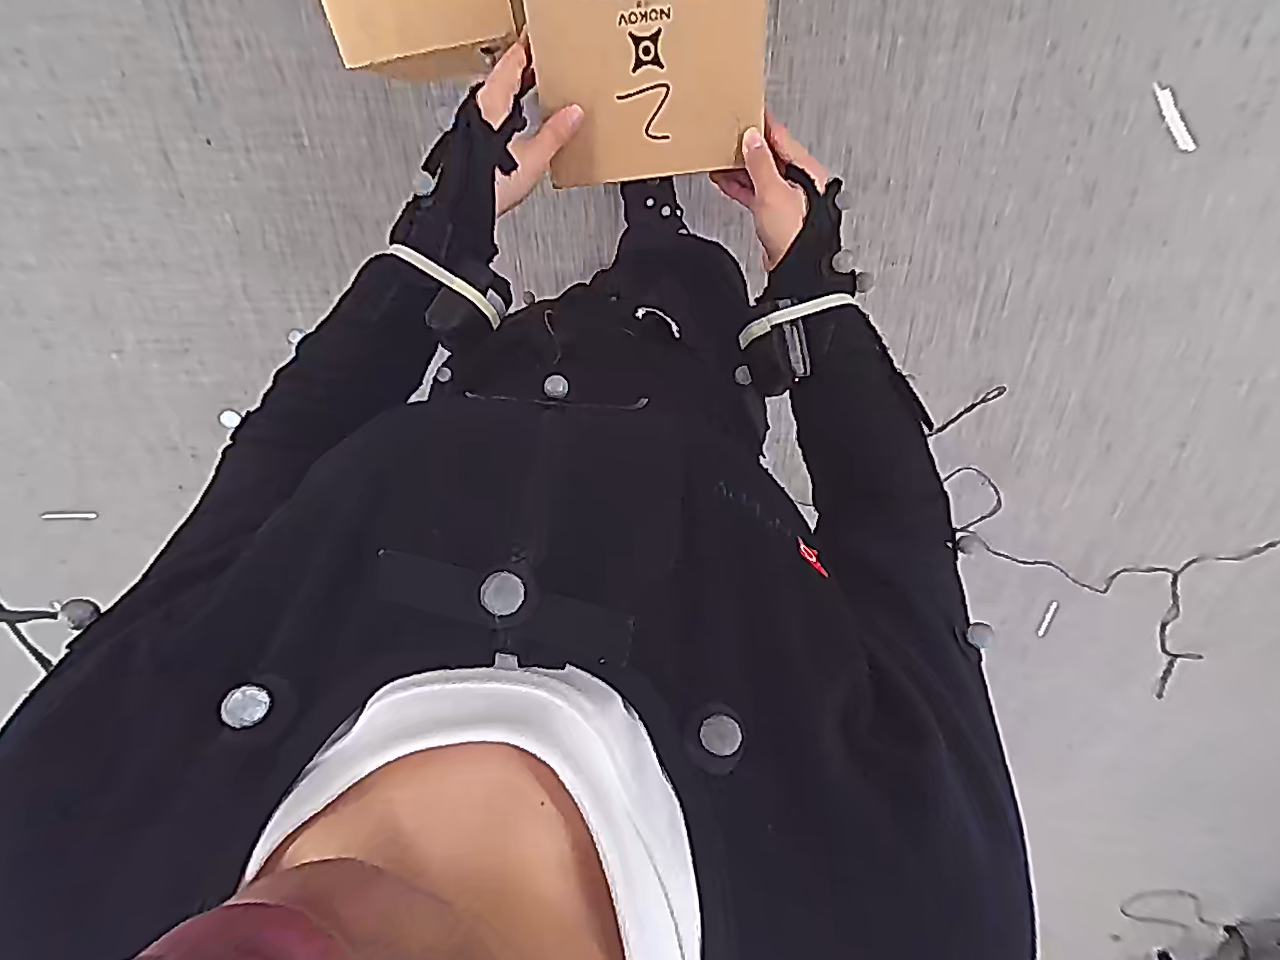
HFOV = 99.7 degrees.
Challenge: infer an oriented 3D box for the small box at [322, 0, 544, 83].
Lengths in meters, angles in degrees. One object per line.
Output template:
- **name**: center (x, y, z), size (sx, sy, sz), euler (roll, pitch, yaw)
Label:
- **small box**: center (-0.209, -0.516, 0.539), size (0.179, 0.176, 0.168), euler (-8, 122, 5)
